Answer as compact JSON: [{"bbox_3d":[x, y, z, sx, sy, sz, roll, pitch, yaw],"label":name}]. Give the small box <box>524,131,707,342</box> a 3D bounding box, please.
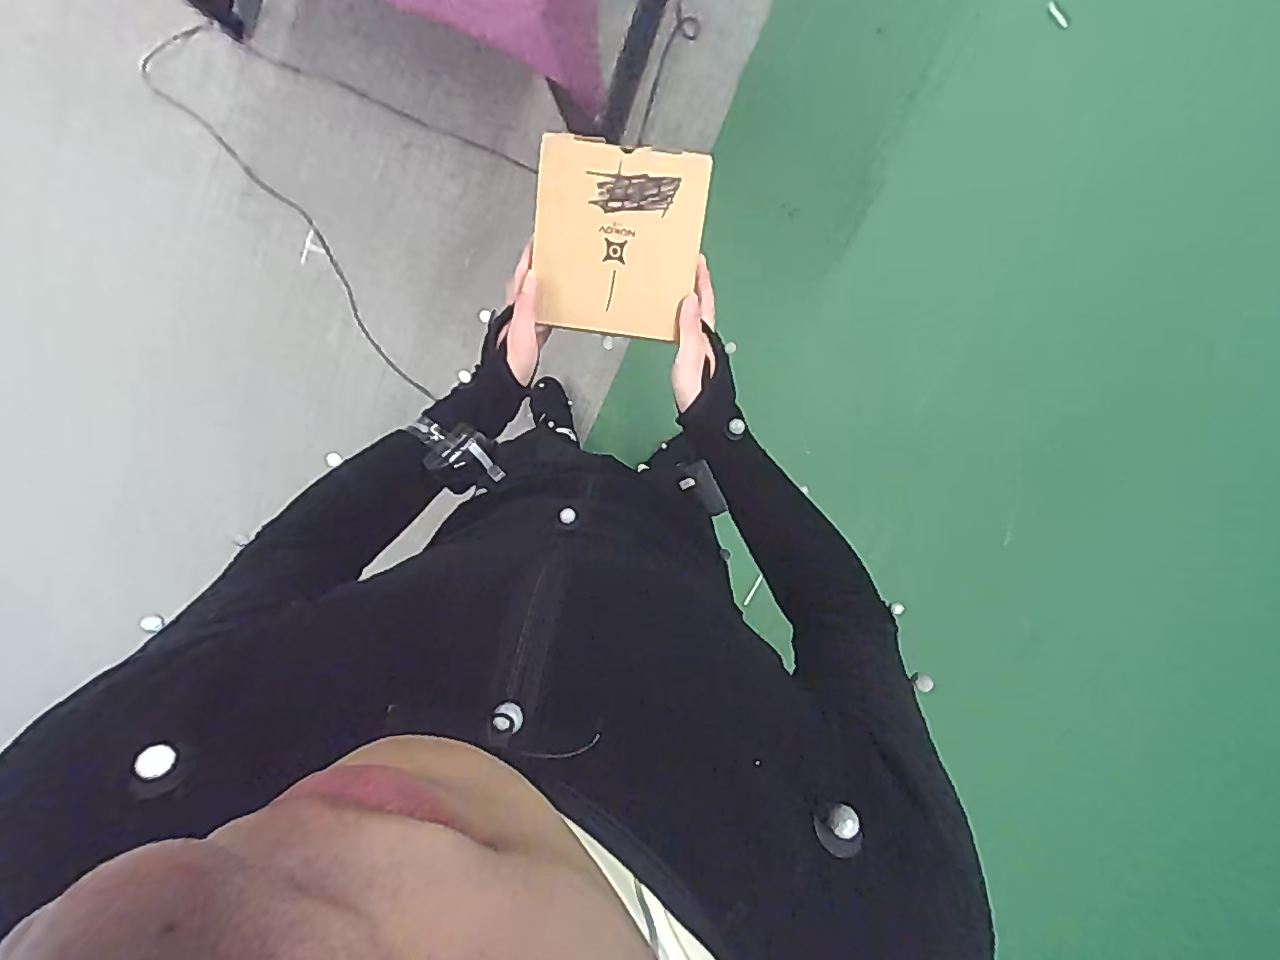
[{"bbox_3d":[-0.027,-0.254,0.606,0.168,0.176,0.179,7,105,-1],"label":"small box"}]
